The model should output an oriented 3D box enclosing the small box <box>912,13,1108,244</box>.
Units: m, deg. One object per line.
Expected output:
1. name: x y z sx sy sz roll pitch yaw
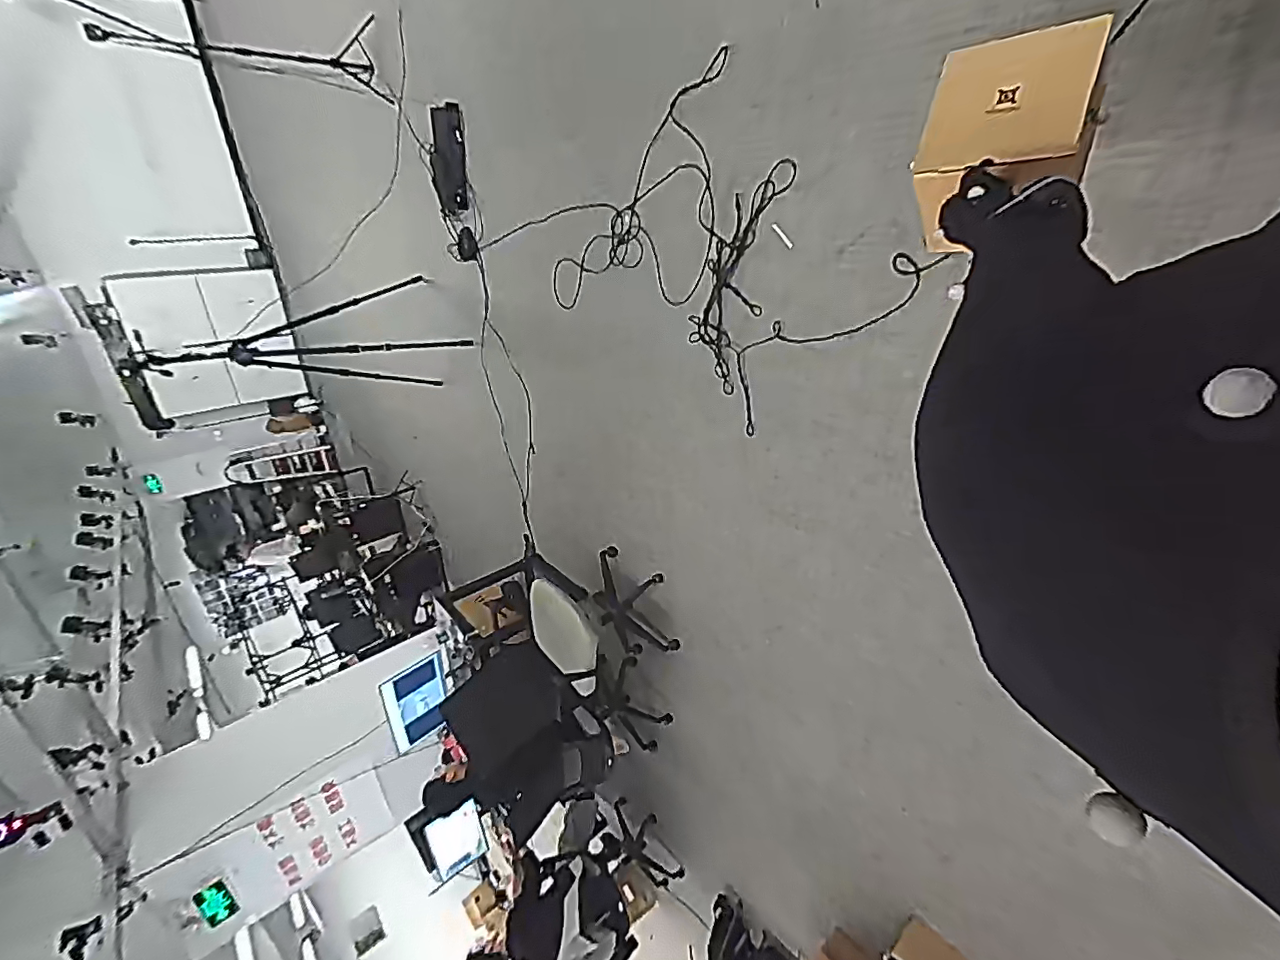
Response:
1. small box: 0.475 -0.438 0.708 0.168 0.176 0.179 15 86 37
